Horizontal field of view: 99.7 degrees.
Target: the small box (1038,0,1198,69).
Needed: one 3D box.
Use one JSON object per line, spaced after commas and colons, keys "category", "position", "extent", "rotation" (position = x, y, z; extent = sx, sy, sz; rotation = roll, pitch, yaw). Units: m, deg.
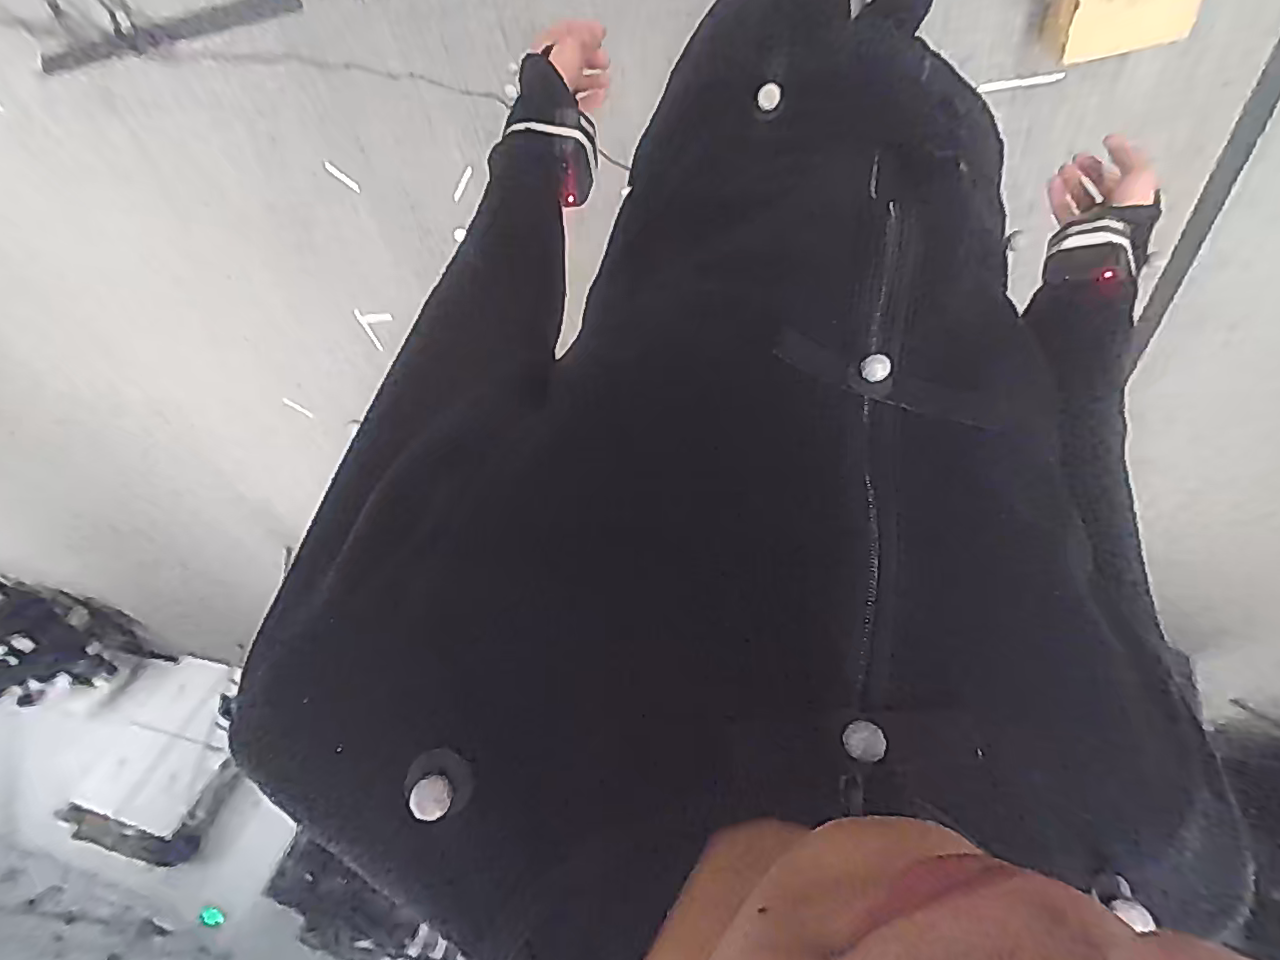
{"category": "small box", "position": [0.810, -0.833, 0.912], "extent": [0.179, 0.176, 0.168], "rotation": [1, 138, 21]}
